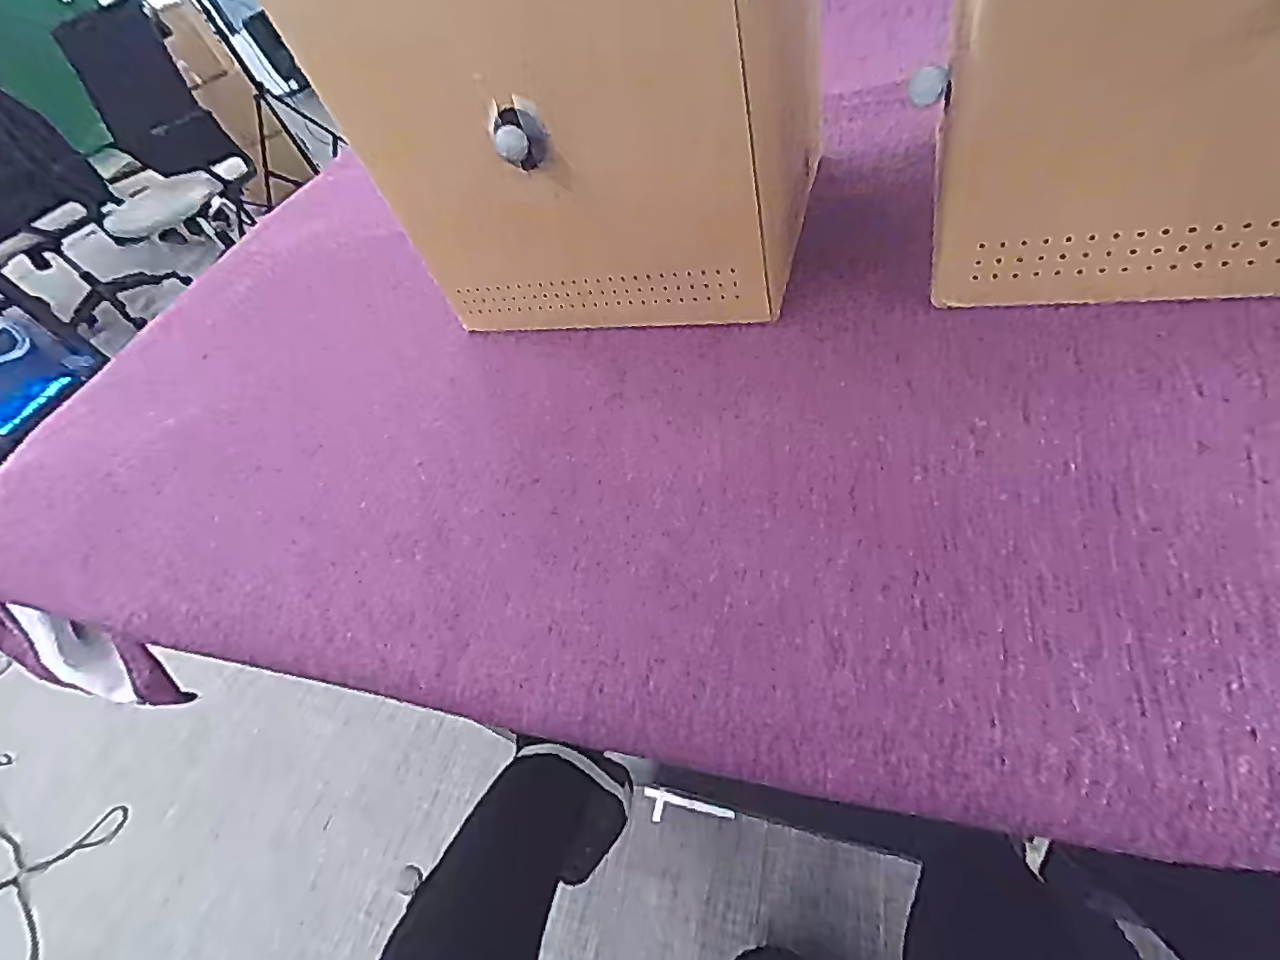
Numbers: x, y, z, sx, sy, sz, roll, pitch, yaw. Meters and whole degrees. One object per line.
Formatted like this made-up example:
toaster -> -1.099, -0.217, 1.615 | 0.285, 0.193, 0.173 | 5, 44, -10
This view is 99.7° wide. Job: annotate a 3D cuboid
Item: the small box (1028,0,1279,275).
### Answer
small box -> 0.246, -0.185, 0.139 | 0.179, 0.176, 0.168 | -15, 88, 14
